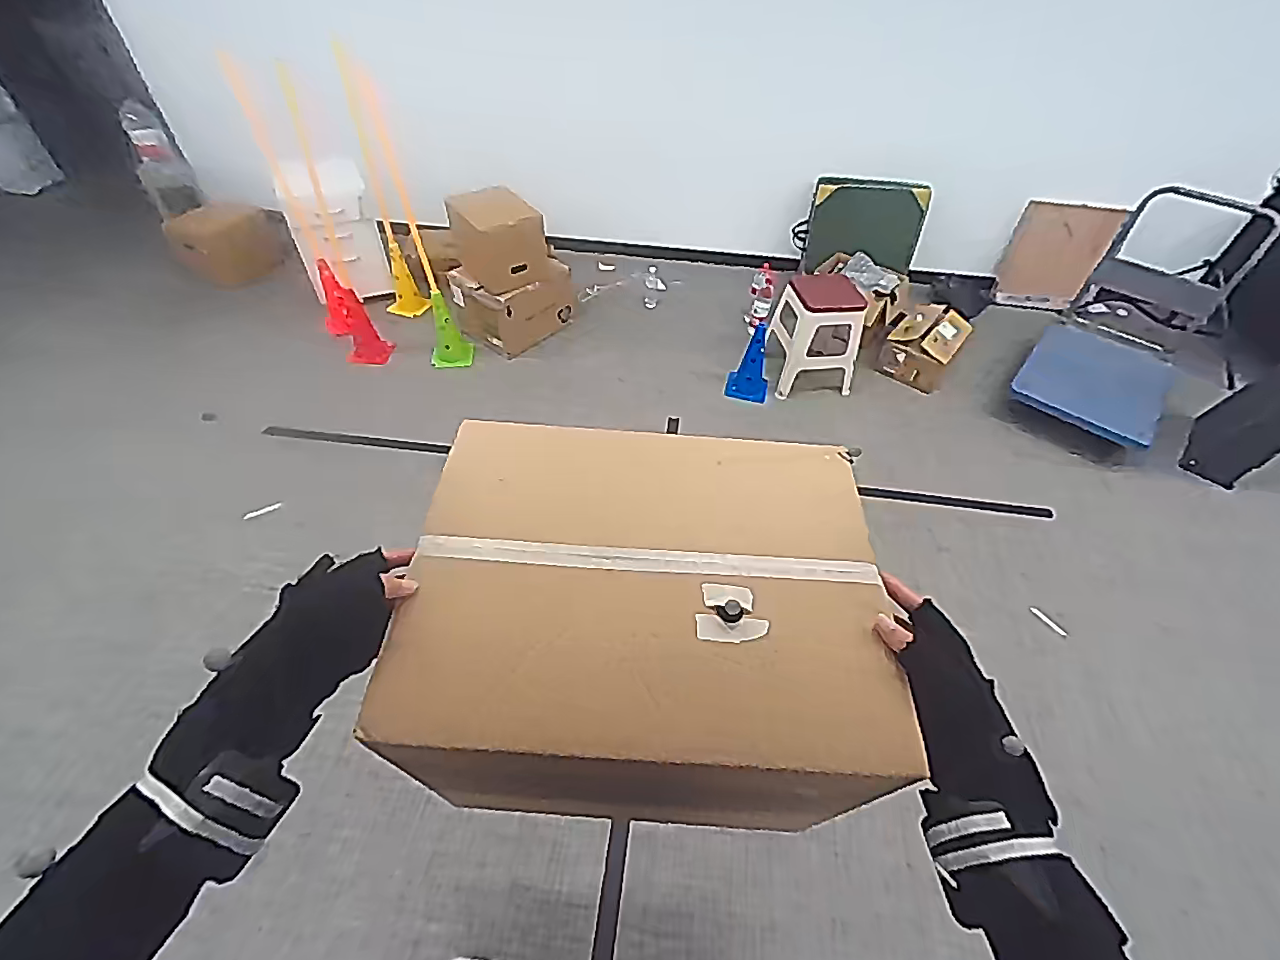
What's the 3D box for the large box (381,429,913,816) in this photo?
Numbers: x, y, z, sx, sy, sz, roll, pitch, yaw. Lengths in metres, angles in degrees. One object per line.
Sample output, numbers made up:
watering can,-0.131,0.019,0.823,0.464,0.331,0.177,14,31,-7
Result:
large box,0.003,0.168,0.603,0.408,0.320,0.320,4,52,-1
